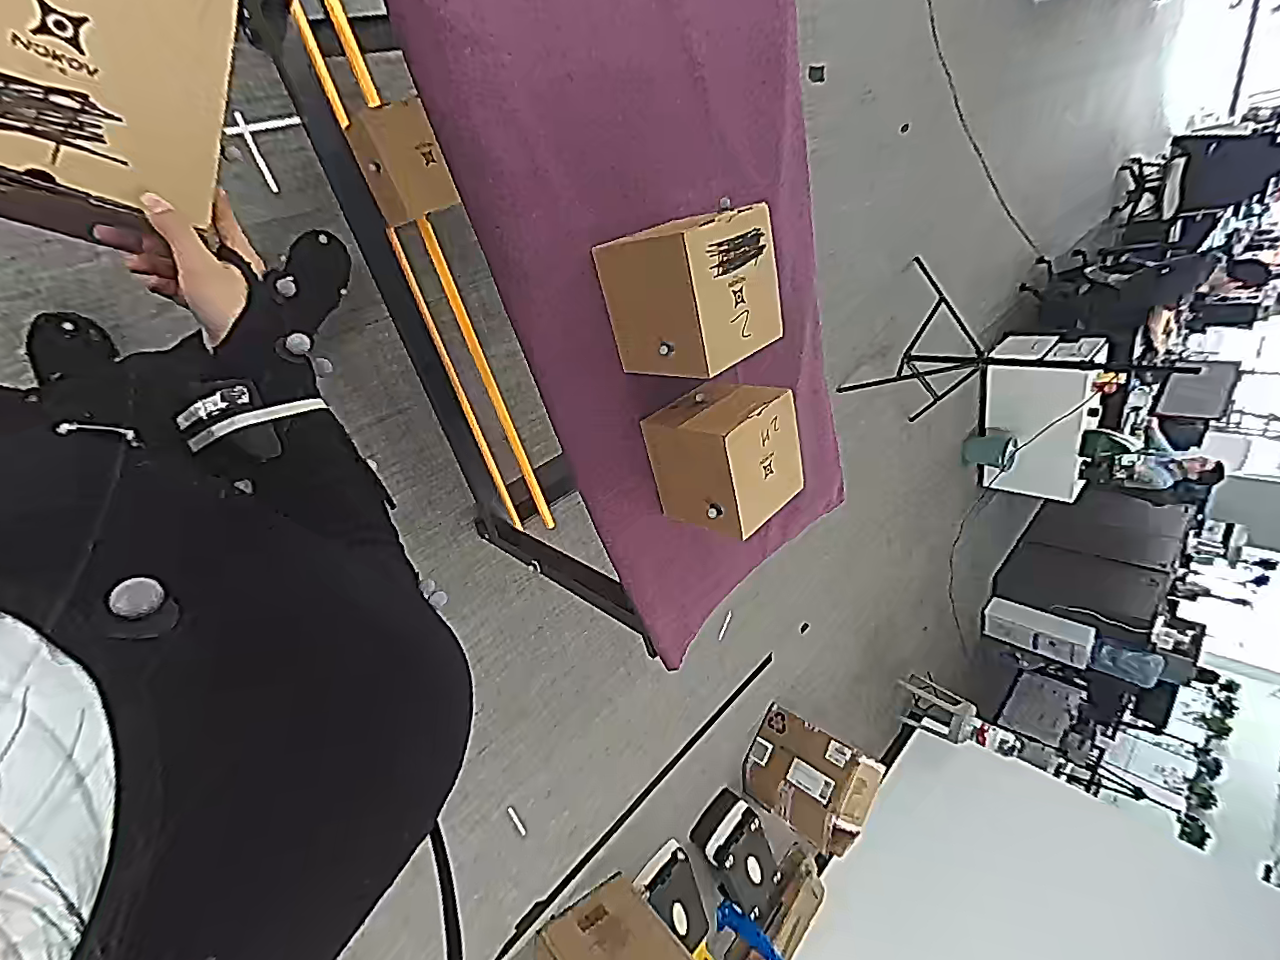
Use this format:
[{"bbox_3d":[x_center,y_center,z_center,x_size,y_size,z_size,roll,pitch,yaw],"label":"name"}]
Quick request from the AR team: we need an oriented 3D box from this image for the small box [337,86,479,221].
[{"bbox_3d":[-0.444,-0.612,1.034,0.168,0.176,0.179,-37,123,-27],"label":"small box"}]

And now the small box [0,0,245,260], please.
[{"bbox_3d":[-0.401,-0.279,0.385,0.168,0.176,0.179,8,91,-42],"label":"small box"}]

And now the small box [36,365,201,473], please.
[{"bbox_3d":[-0.875,-0.109,0.913,0.179,0.176,0.168,-10,106,-43],"label":"small box"}]
